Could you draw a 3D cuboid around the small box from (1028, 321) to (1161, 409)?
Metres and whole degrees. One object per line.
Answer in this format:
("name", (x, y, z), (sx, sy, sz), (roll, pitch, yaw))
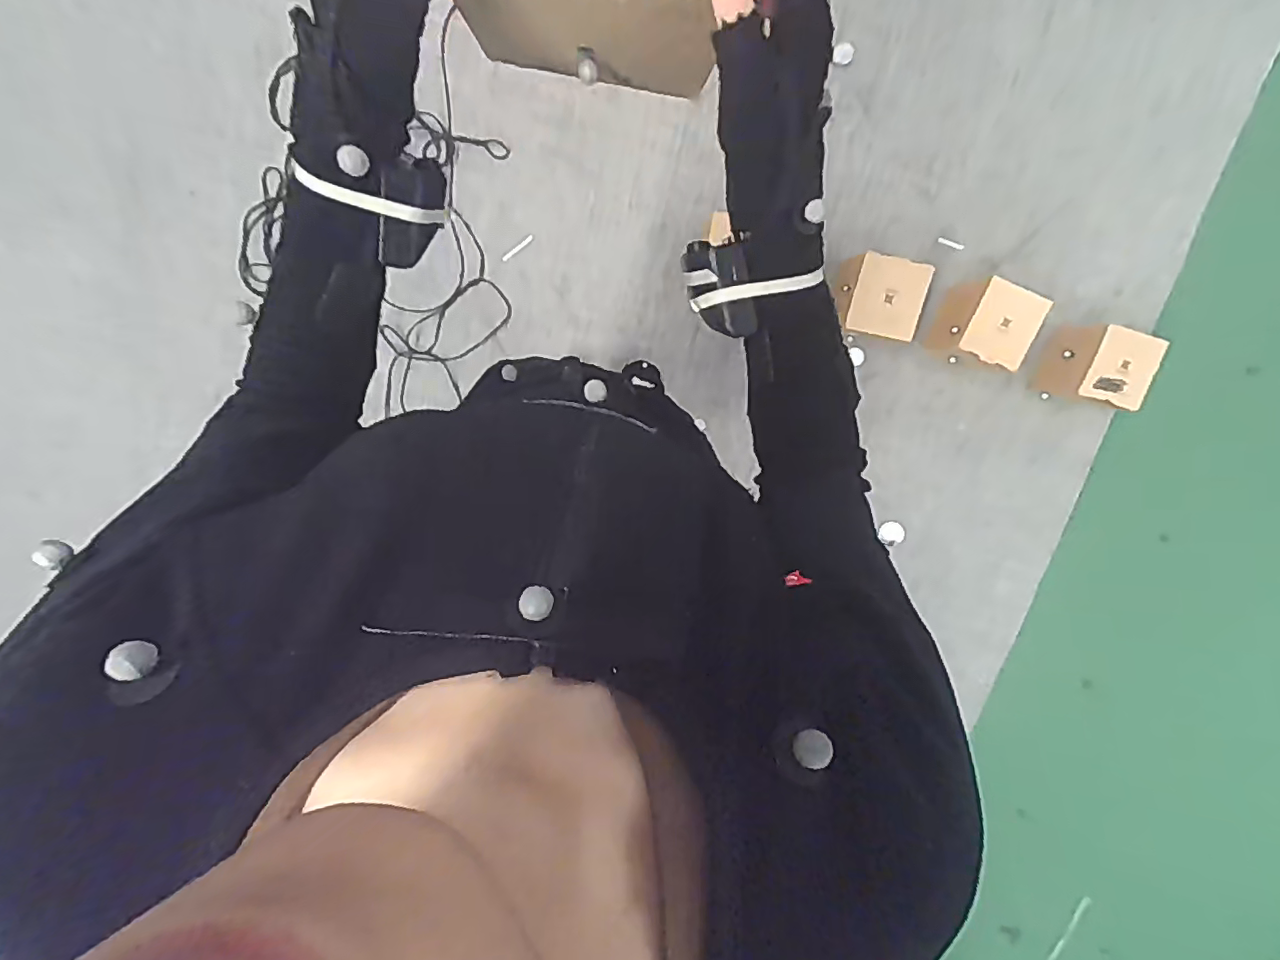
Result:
("small box", (1.146, -0.295, 1.383), (0.168, 0.176, 0.179), (15, 102, -6))

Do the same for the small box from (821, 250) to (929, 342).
("small box", (0.564, -0.443, 1.323), (0.168, 0.176, 0.179), (11, 105, -3))

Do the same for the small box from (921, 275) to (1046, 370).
("small box", (0.843, -0.388, 1.349), (0.168, 0.176, 0.179), (20, 103, -7))
